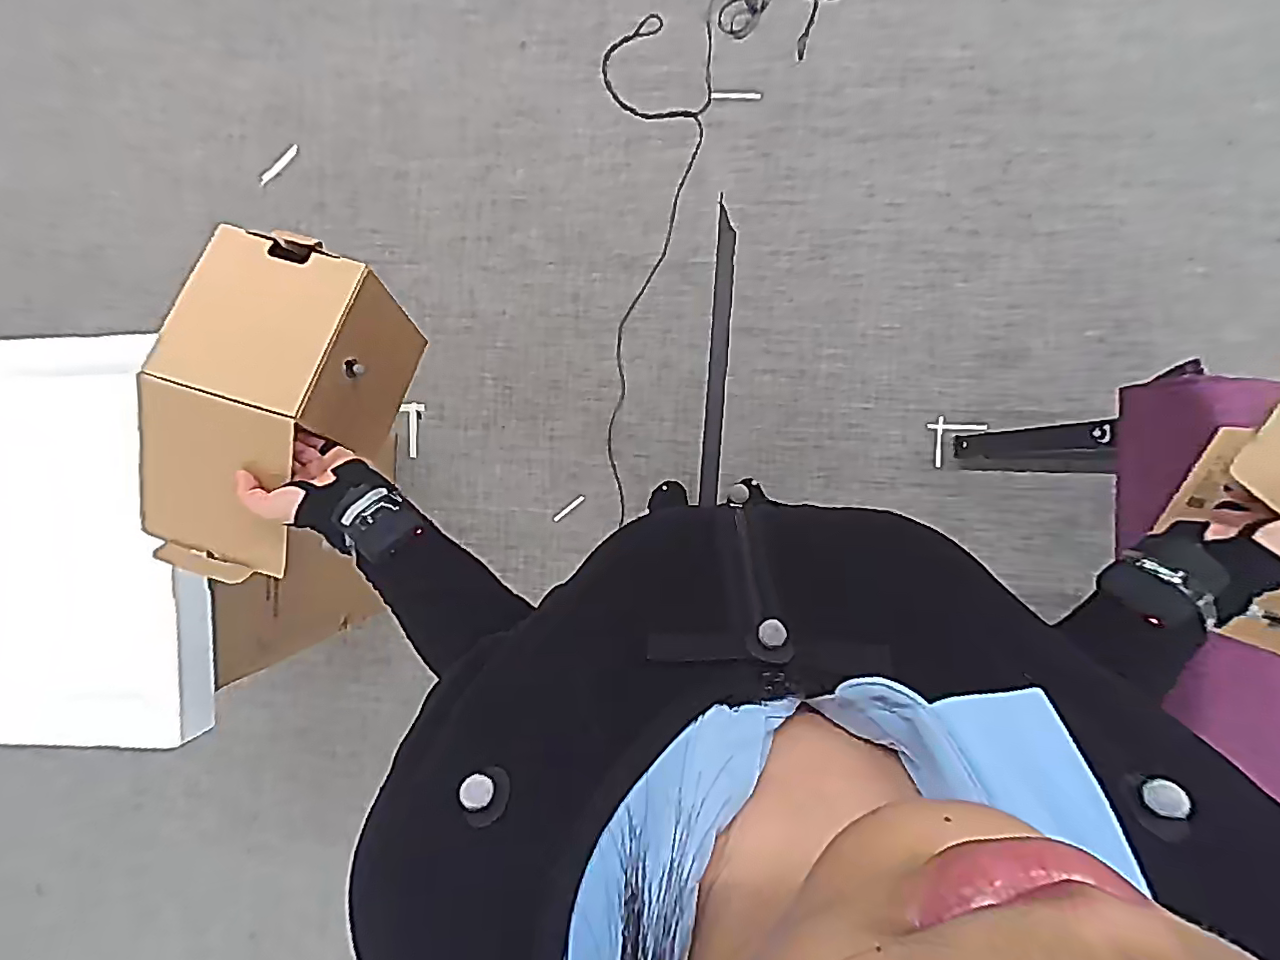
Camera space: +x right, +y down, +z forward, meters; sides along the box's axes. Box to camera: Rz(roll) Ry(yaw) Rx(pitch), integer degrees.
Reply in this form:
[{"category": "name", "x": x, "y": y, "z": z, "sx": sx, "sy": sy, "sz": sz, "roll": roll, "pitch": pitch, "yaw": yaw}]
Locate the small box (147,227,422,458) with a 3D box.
[{"category": "small box", "x": -0.375, "y": -0.140, "z": 0.612, "sx": 0.168, "sy": 0.176, "sz": 0.179, "roll": 17, "pitch": 76, "yaw": 3}]
